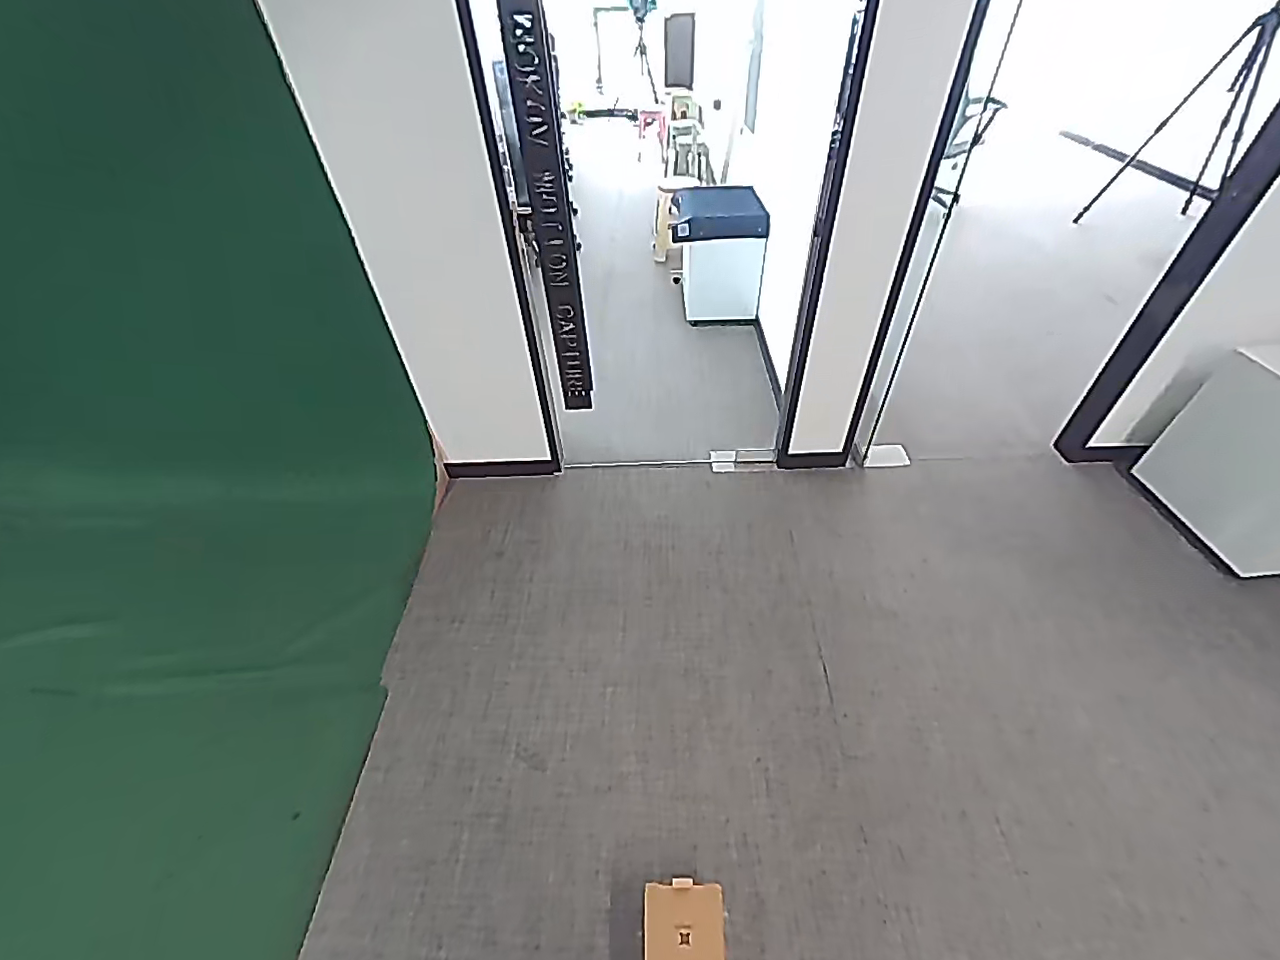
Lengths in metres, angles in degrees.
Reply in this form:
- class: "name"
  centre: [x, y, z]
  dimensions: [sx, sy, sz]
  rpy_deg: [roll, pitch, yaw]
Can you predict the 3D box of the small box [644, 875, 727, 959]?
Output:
- class: "small box"
  centre: [0.097, 0.962, 1.142]
  dimensions: [0.168, 0.176, 0.179]
  rpy_deg: [-1, 45, 5]
